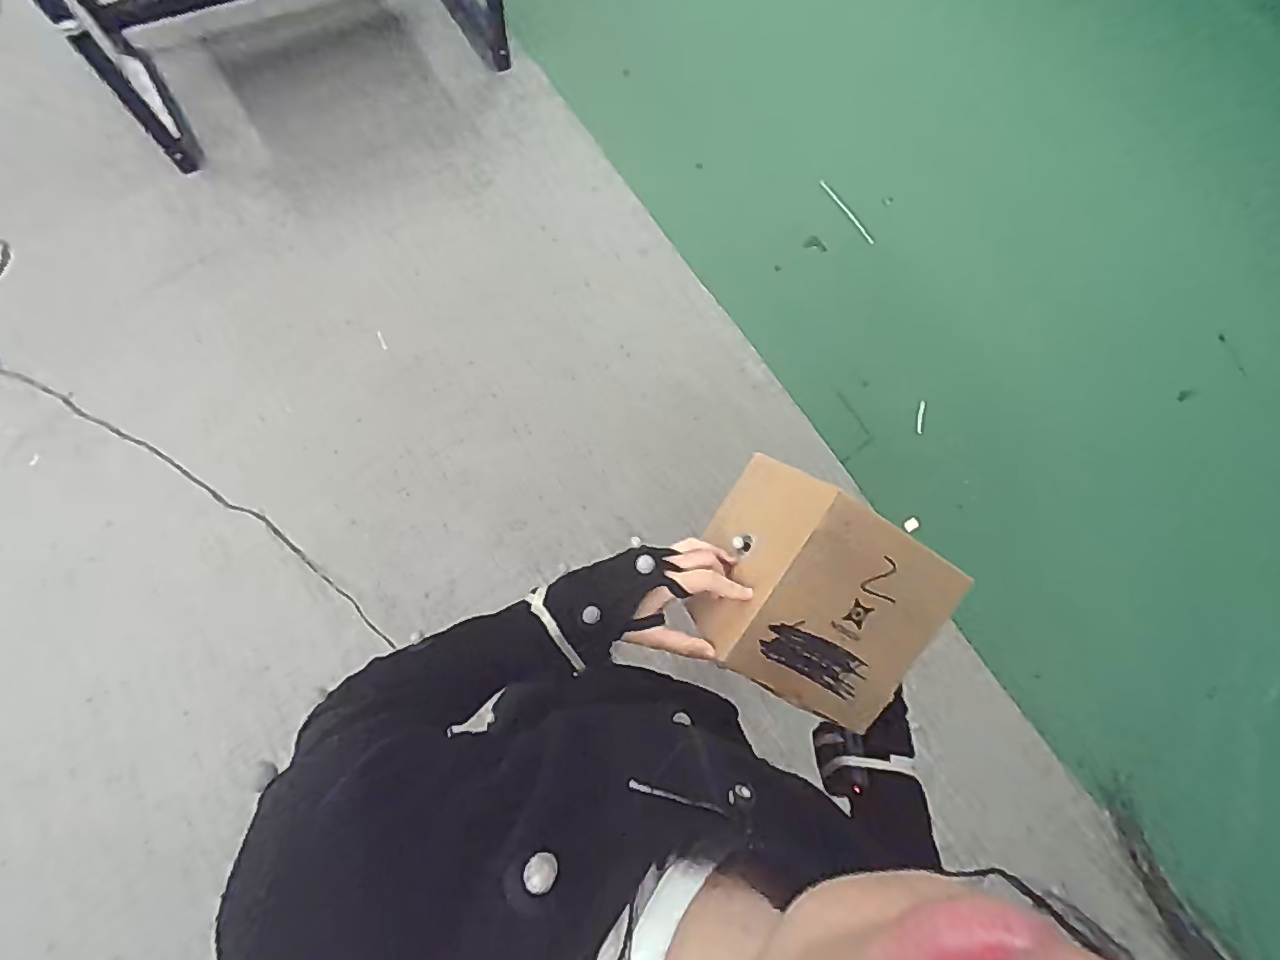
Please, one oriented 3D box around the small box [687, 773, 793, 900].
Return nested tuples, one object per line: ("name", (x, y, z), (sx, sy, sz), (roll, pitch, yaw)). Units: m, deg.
("small box", (0.233, 0.846, 1.307), (0.168, 0.176, 0.179), (-26, 78, -14))
